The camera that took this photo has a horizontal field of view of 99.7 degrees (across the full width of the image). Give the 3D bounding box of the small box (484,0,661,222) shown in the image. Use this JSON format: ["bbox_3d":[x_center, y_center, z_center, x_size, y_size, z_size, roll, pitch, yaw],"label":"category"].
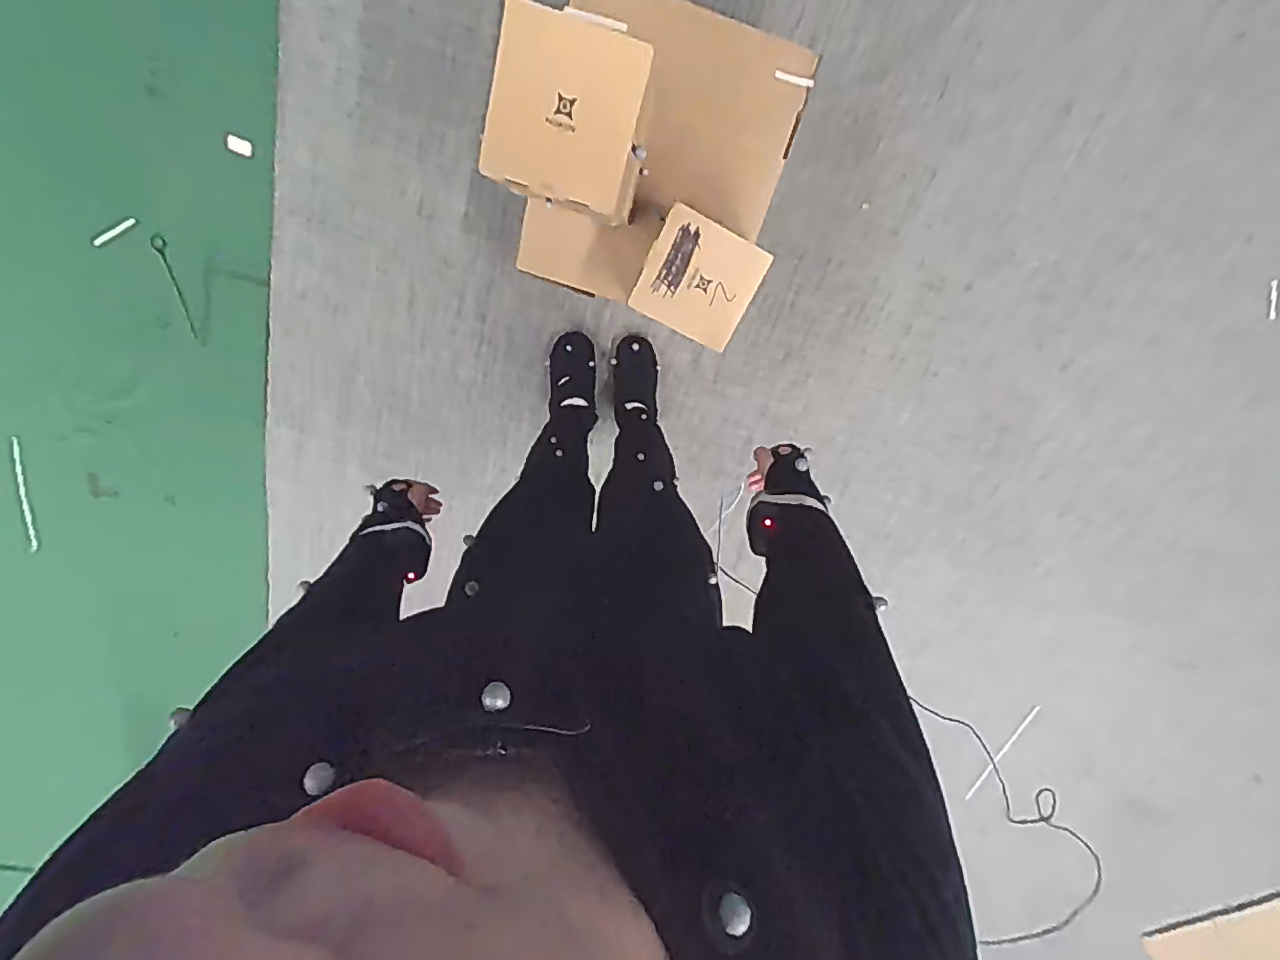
[{"bbox_3d":[-0.081,-0.445,0.682,0.168,0.176,0.179,16,112,-6],"label":"small box"}]

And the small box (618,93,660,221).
[{"bbox_3d":[-0.077,-0.509,0.832,0.179,0.176,0.168,15,111,-6],"label":"small box"}]
